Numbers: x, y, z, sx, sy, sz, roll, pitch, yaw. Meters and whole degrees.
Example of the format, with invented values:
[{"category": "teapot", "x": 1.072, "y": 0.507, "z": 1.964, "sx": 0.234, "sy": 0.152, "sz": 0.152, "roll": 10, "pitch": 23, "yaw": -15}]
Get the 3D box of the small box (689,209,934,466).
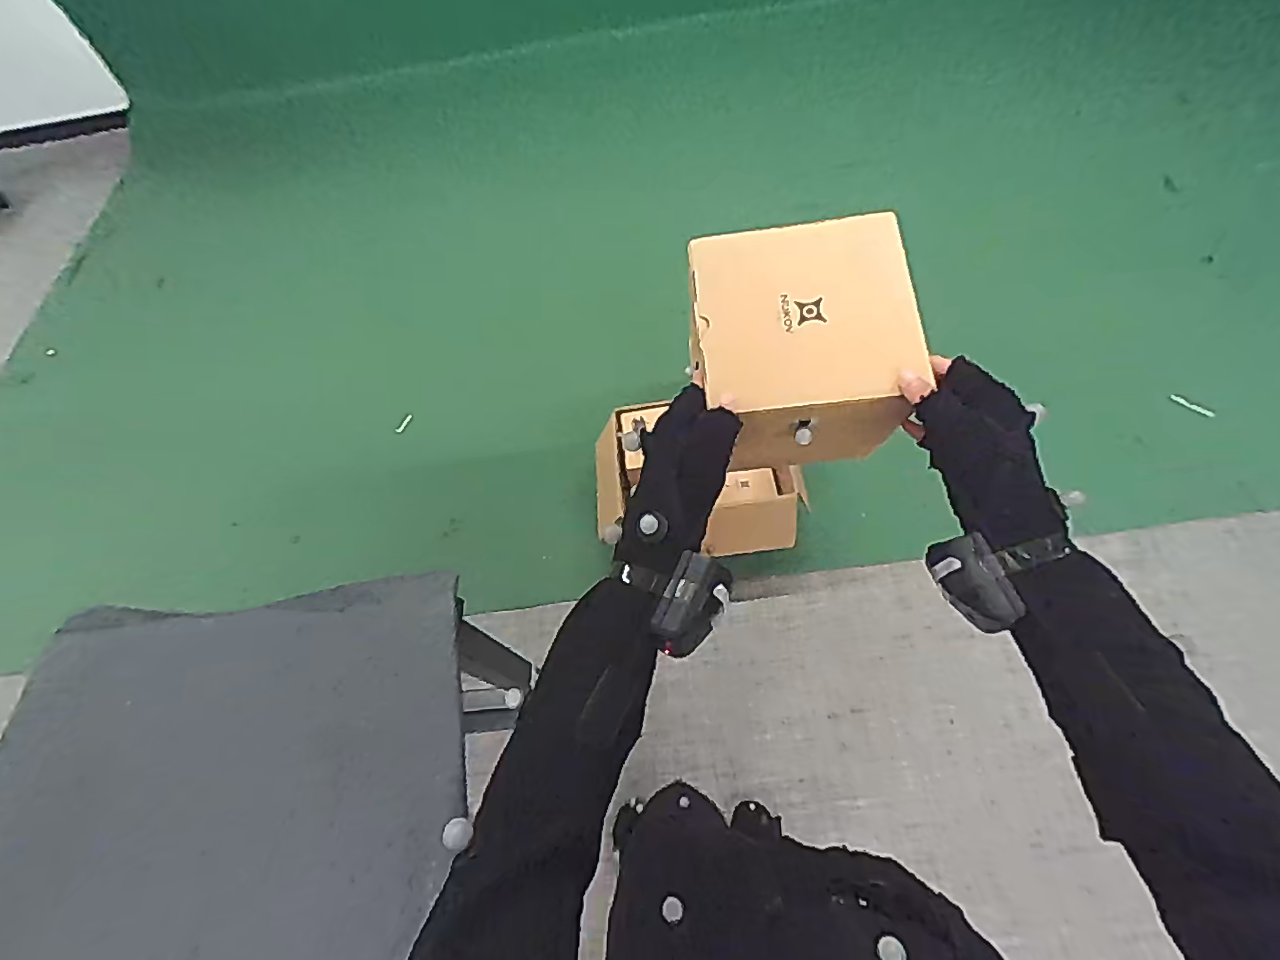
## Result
[{"category": "small box", "x": 0.141, "y": -0.119, "z": 0.512, "sx": 0.179, "sy": 0.176, "sz": 0.168, "roll": -6, "pitch": 74, "yaw": 6}]
